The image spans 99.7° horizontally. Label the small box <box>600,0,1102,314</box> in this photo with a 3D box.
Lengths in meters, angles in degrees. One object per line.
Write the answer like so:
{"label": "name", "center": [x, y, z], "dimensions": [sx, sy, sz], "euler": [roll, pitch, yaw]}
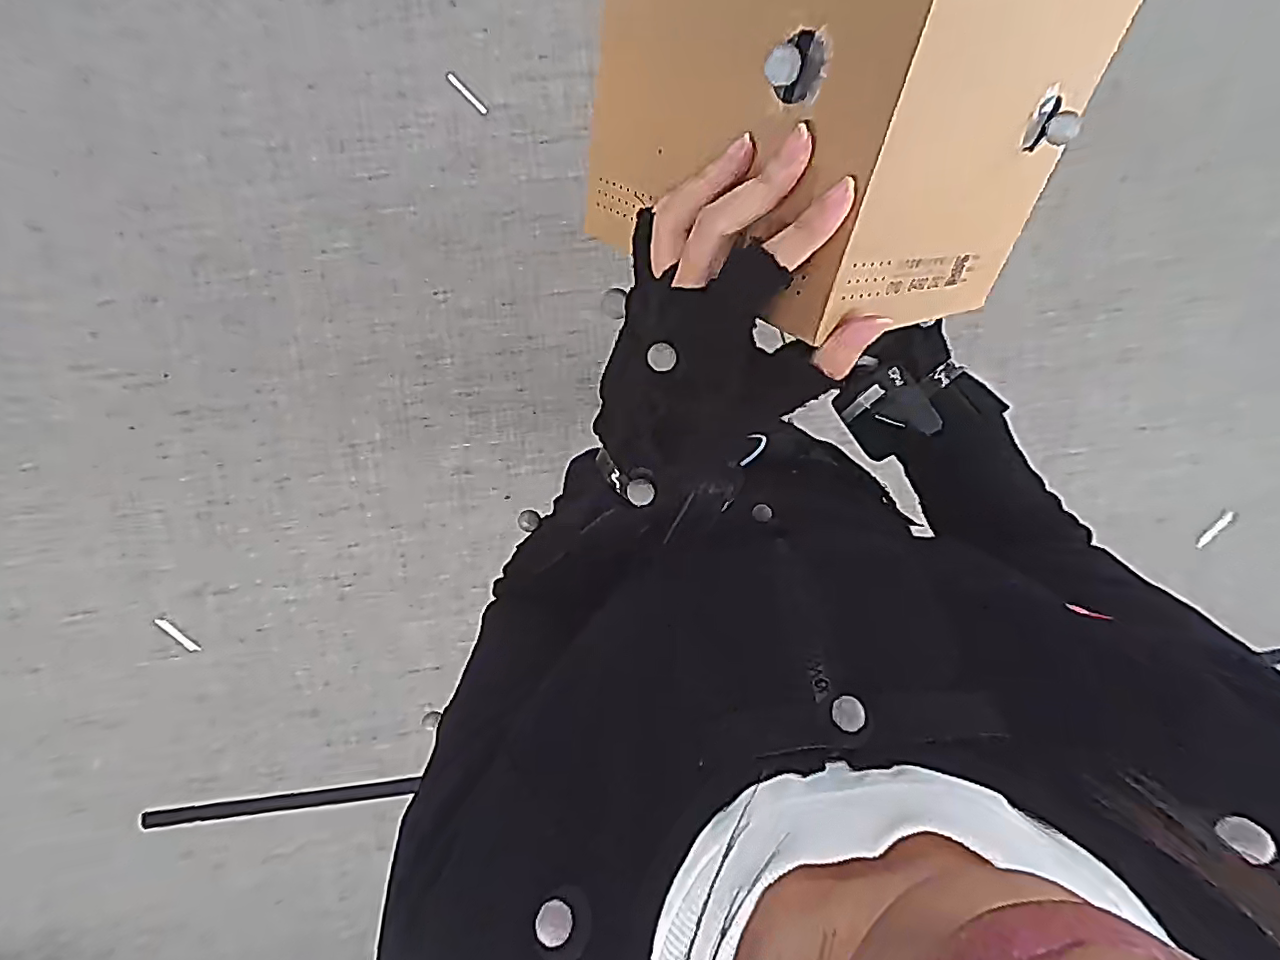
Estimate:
{"label": "small box", "center": [0.095, -0.196, 0.291], "dimensions": [0.168, 0.179, 0.176], "euler": [-19, 134, -35]}
